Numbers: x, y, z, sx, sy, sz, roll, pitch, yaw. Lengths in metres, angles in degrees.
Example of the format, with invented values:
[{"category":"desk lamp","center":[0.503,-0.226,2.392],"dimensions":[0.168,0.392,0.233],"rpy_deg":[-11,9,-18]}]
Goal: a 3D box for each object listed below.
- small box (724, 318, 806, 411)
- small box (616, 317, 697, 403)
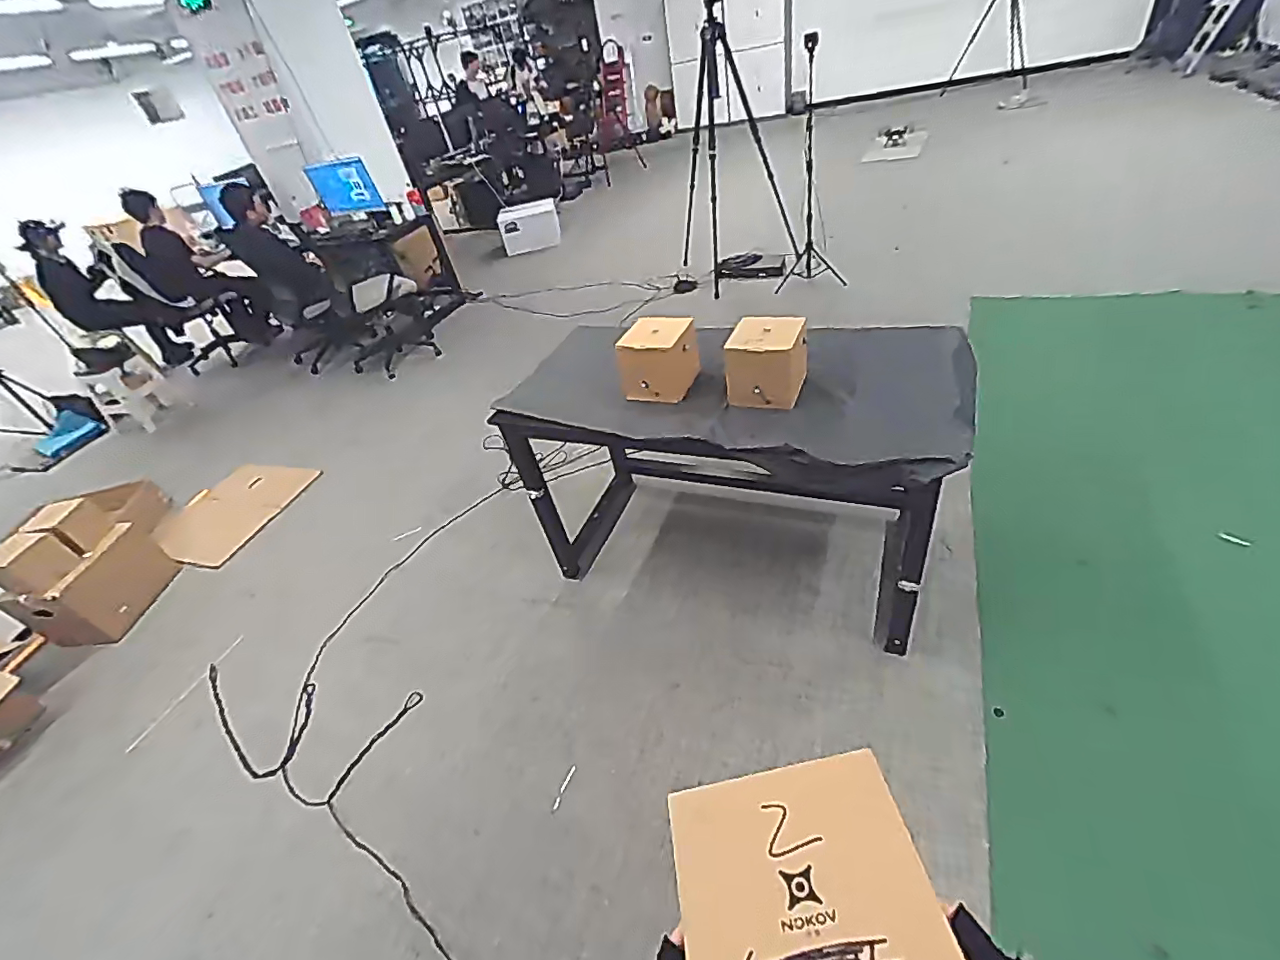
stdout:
[{"category":"small box","center":[0.323,-0.299,1.384],"dimensions":[0.168,0.176,0.179],"rpy_deg":[9,44,25]},{"category":"small box","center":[0.054,-0.335,1.506],"dimensions":[0.168,0.176,0.179],"rpy_deg":[9,44,24]}]
